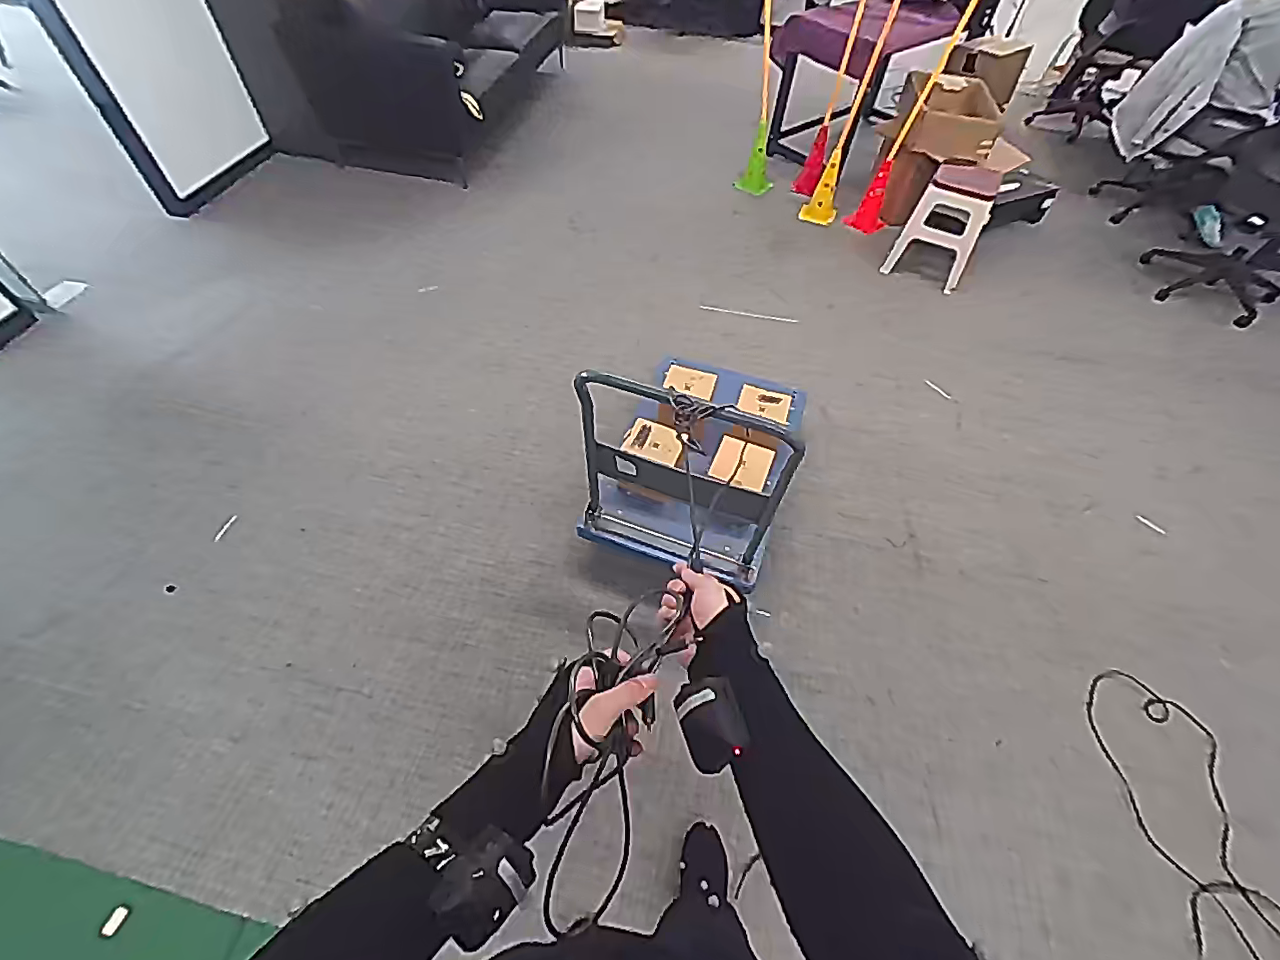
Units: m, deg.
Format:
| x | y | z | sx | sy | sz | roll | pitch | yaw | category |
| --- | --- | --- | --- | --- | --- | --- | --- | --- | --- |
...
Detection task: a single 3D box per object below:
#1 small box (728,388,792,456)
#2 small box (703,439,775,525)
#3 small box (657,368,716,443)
| x | y | z | sx | sy | sz | roll | pitch | yaw | category |
| --- | --- | --- | --- | --- | --- | --- | --- | --- | --- |
| 0.397 | -0.177 | 1.820 | 0.168 | 0.176 | 0.179 | 16 | 56 | 11 | small box |
| 0.303 | 0.008 | 1.684 | 0.168 | 0.176 | 0.179 | 19 | 56 | 12 | small box |
| 0.158 | -0.252 | 1.869 | 0.168 | 0.176 | 0.179 | 15 | 55 | 8 | small box |
